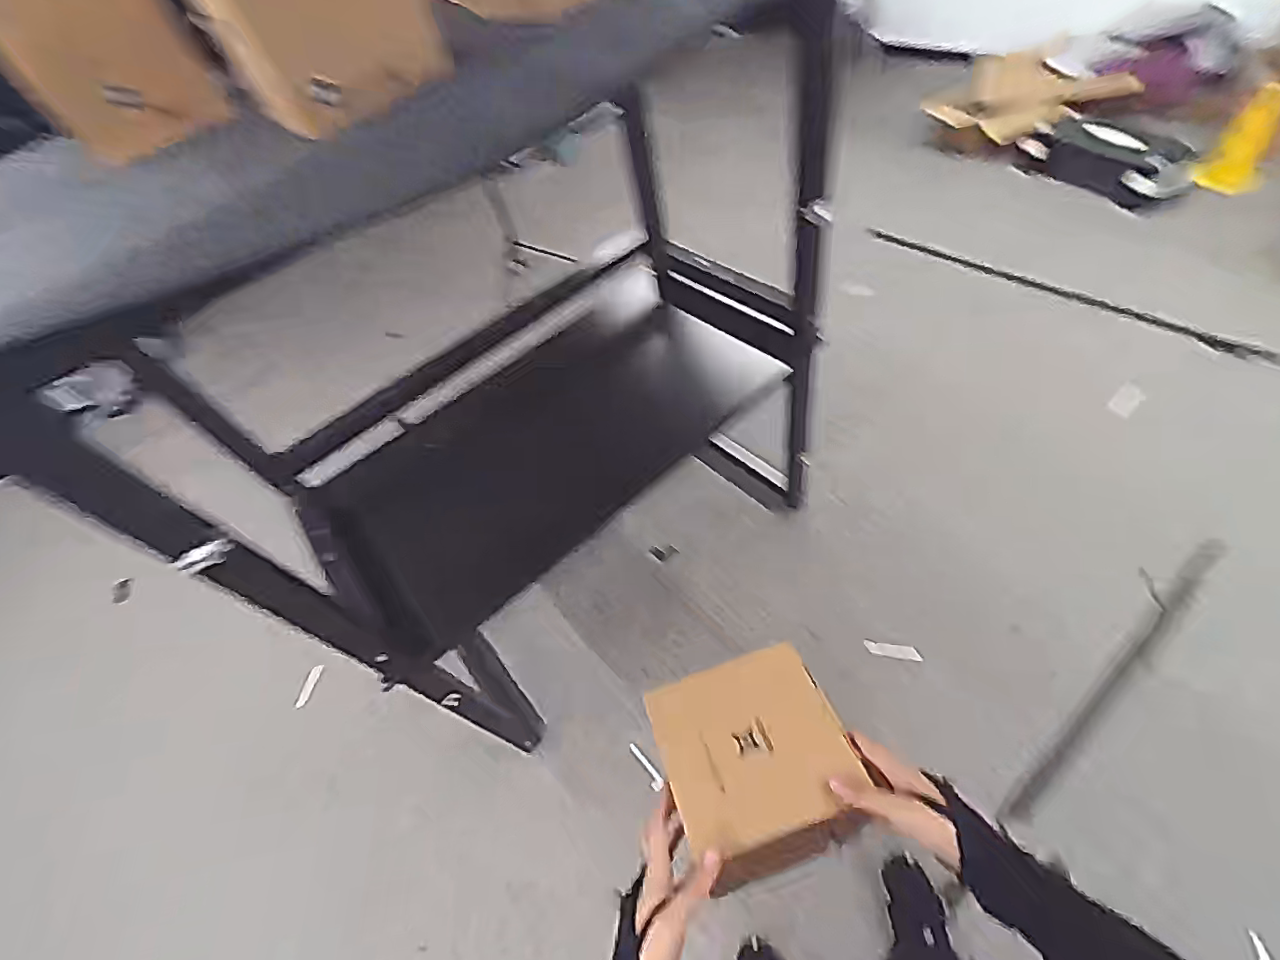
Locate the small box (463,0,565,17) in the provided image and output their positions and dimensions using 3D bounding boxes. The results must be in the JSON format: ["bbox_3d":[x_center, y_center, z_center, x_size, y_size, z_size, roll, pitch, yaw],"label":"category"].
[{"bbox_3d":[-0.140,-0.680,0.638,0.168,0.176,0.179,-40,54,-15],"label":"small box"}]

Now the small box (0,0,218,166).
[{"bbox_3d":[-0.649,-0.497,0.631,0.168,0.176,0.179,-41,57,-17],"label":"small box"}]

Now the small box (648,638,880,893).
[{"bbox_3d":[0.121,0.304,0.578,0.179,0.176,0.168,-18,43,-5],"label":"small box"}]
